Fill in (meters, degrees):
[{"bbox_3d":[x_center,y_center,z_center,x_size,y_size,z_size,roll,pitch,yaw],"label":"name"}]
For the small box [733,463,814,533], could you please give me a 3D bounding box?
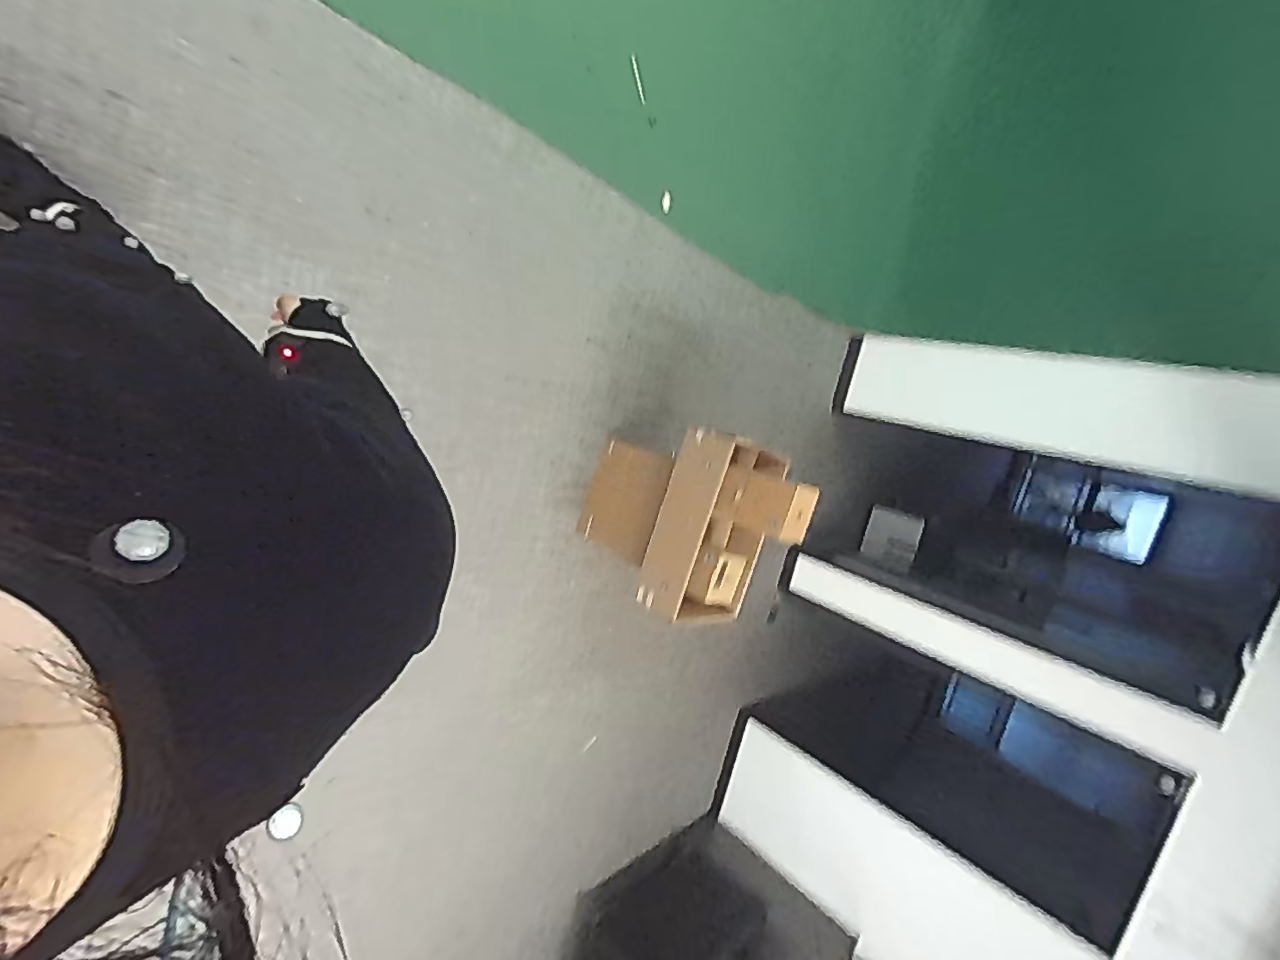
[{"bbox_3d":[0.420,0.056,1.718,0.168,0.176,0.179,10,100,-49],"label":"small box"}]
